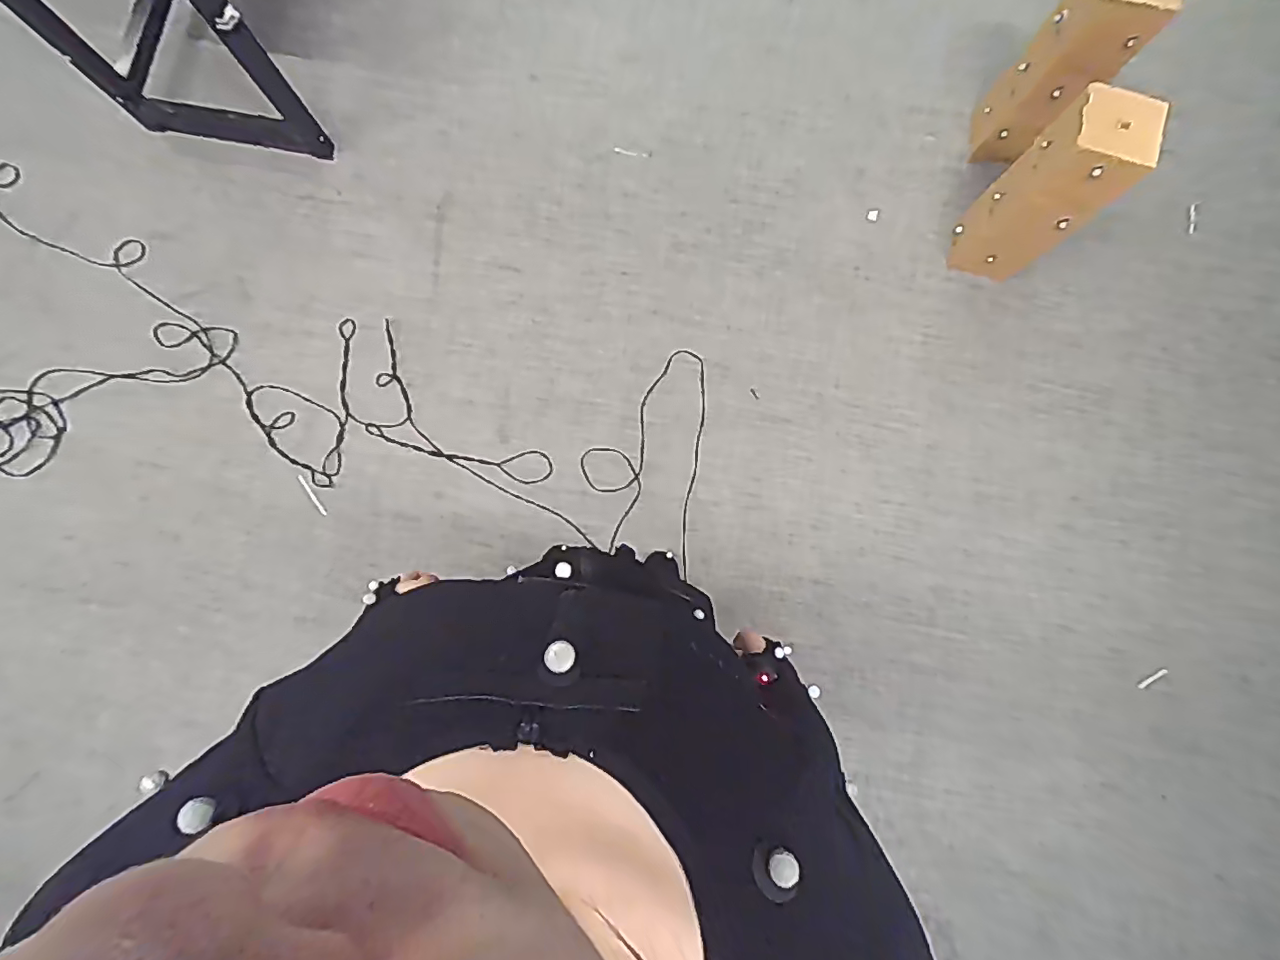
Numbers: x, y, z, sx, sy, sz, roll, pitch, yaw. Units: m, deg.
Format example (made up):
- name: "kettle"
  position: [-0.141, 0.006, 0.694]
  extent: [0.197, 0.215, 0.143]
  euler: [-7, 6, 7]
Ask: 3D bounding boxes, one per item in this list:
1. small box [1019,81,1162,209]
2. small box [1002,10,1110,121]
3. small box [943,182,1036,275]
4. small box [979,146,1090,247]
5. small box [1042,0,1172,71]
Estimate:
- name: "small box"
  position: [1.037, -0.766, 1.258]
  extent: [0.179, 0.176, 0.168]
  euler: [17, 83, 1]
- name: "small box"
  position: [1.121, -1.116, 1.466]
  extent: [0.179, 0.176, 0.168]
  euler: [8, 83, 0]
- name: "small box"
  position: [1.031, -0.726, 1.582]
  extent: [0.179, 0.176, 0.168]
  euler: [16, 83, 2]
- name: "small box"
  position: [1.038, -0.742, 1.418]
  extent: [0.179, 0.176, 0.168]
  euler: [14, 82, 0]
- name: "small box"
  position: [1.120, -1.134, 1.304]
  extent: [0.179, 0.176, 0.168]
  euler: [8, 81, 0]
